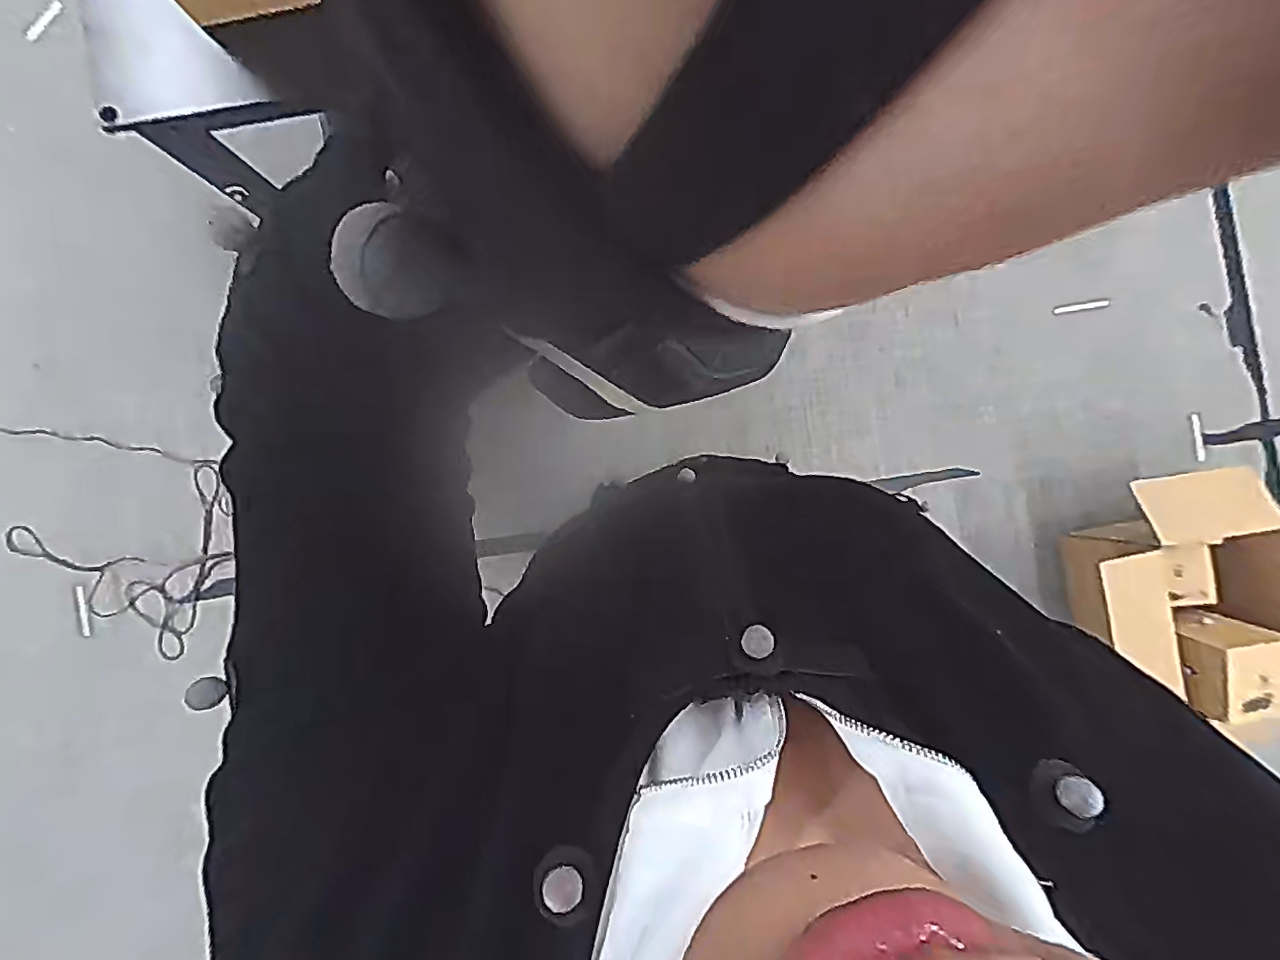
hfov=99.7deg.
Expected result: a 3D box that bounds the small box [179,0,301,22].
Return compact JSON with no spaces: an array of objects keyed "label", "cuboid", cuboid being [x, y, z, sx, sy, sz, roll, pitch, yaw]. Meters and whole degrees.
[{"label":"small box","cuboid":[-0.549,-0.735,0.679,0.179,0.176,0.168,-13,89,0]}]

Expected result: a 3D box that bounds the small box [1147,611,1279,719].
[{"label":"small box","cuboid":[1.335,0.422,1.257,0.168,0.176,0.179,-7,94,-2]}]
